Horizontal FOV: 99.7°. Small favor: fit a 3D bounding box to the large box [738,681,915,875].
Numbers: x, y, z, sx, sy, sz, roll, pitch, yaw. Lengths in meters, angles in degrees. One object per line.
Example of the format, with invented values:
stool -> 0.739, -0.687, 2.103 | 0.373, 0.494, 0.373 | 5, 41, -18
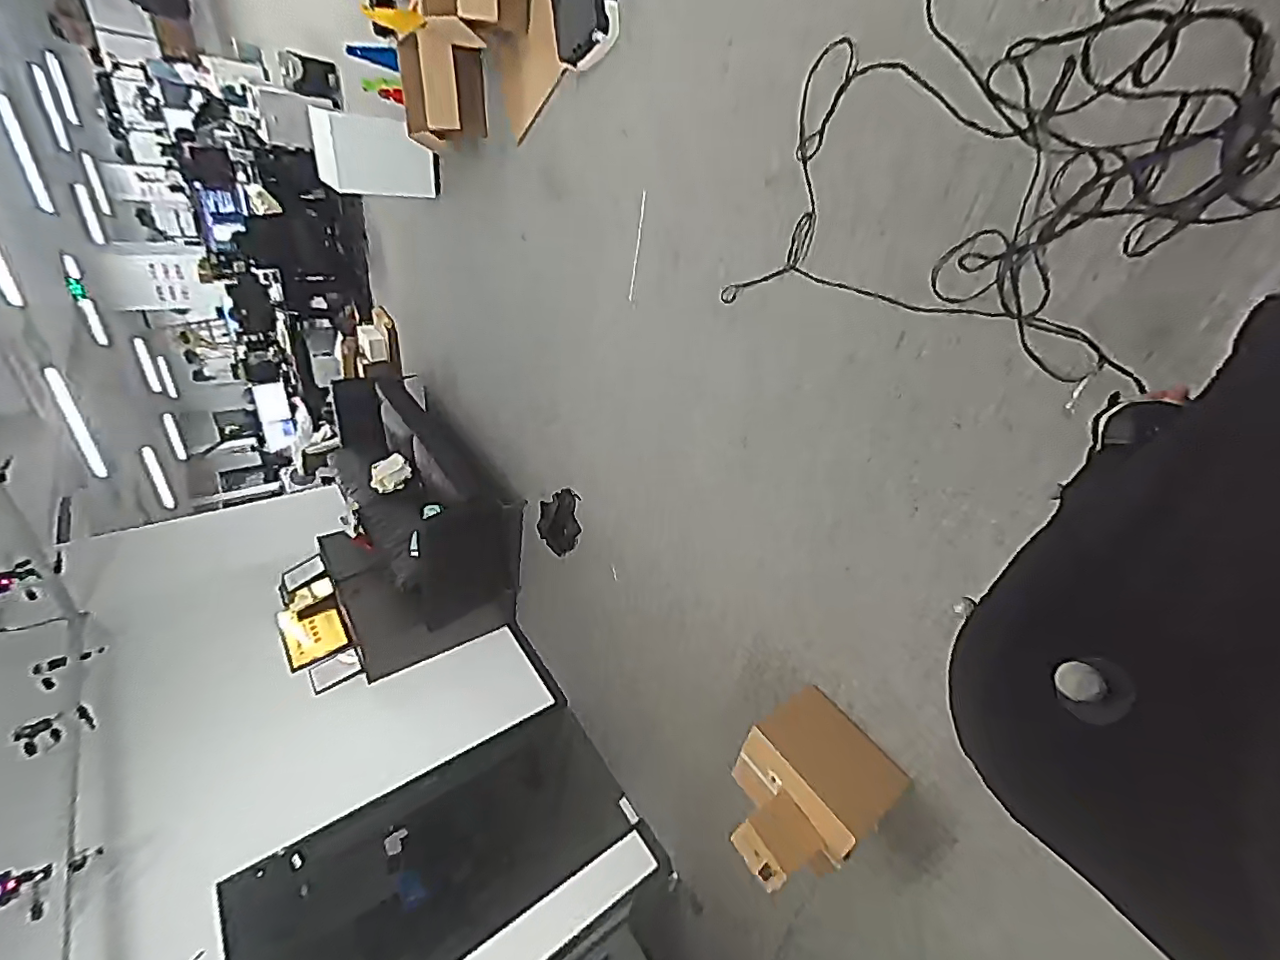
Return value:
large box -> 0.602, 0.965, 1.791 | 0.408, 0.320, 0.320 | 43, 135, 39
